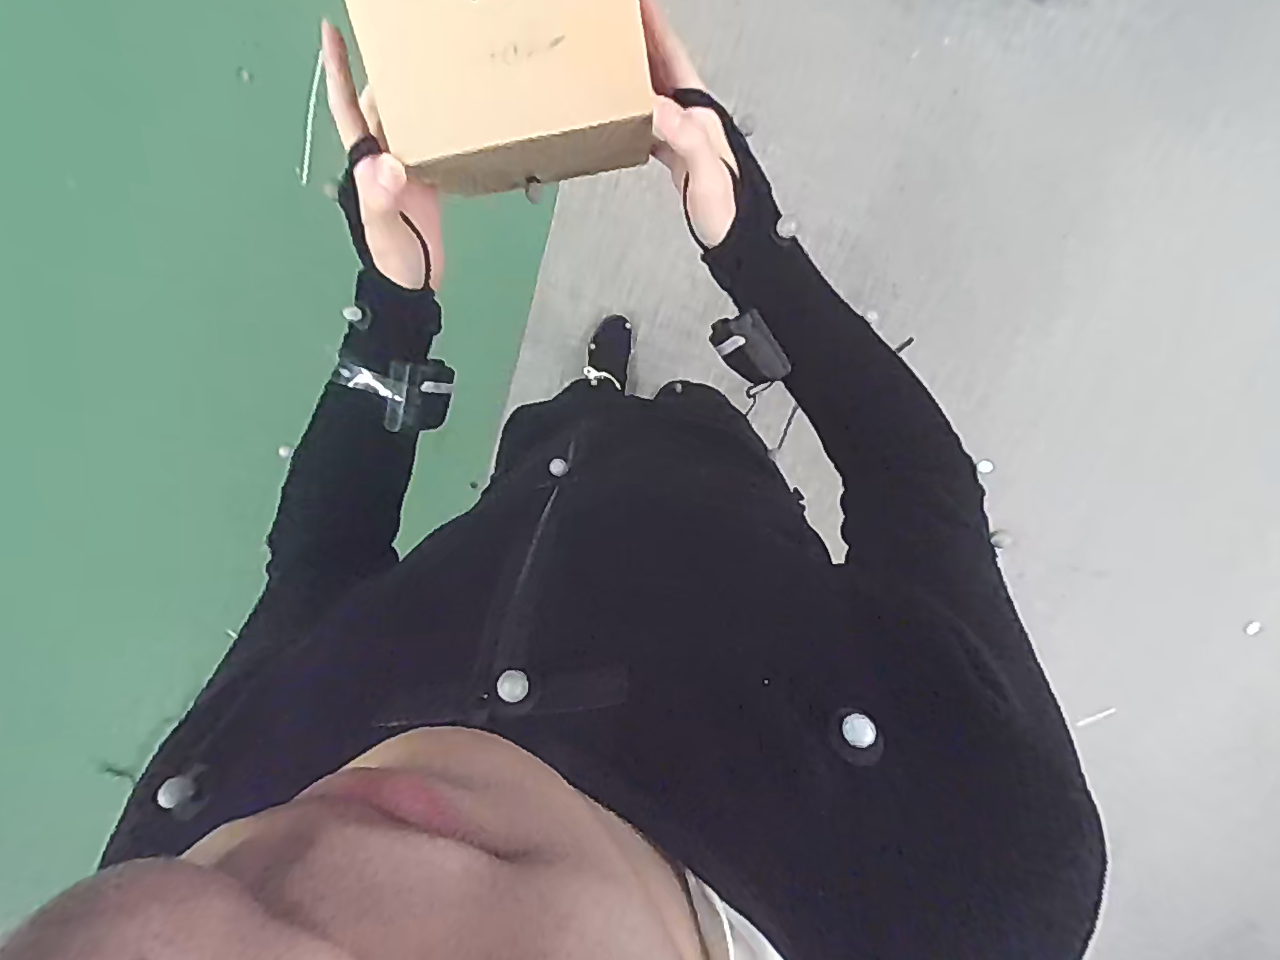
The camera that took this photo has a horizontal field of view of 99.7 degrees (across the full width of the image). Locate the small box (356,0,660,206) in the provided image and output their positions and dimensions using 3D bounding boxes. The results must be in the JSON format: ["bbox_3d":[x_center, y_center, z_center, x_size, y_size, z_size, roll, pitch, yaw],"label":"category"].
[{"bbox_3d":[-0.082,-0.311,0.379,0.168,0.176,0.179,-9,110,3],"label":"small box"}]
